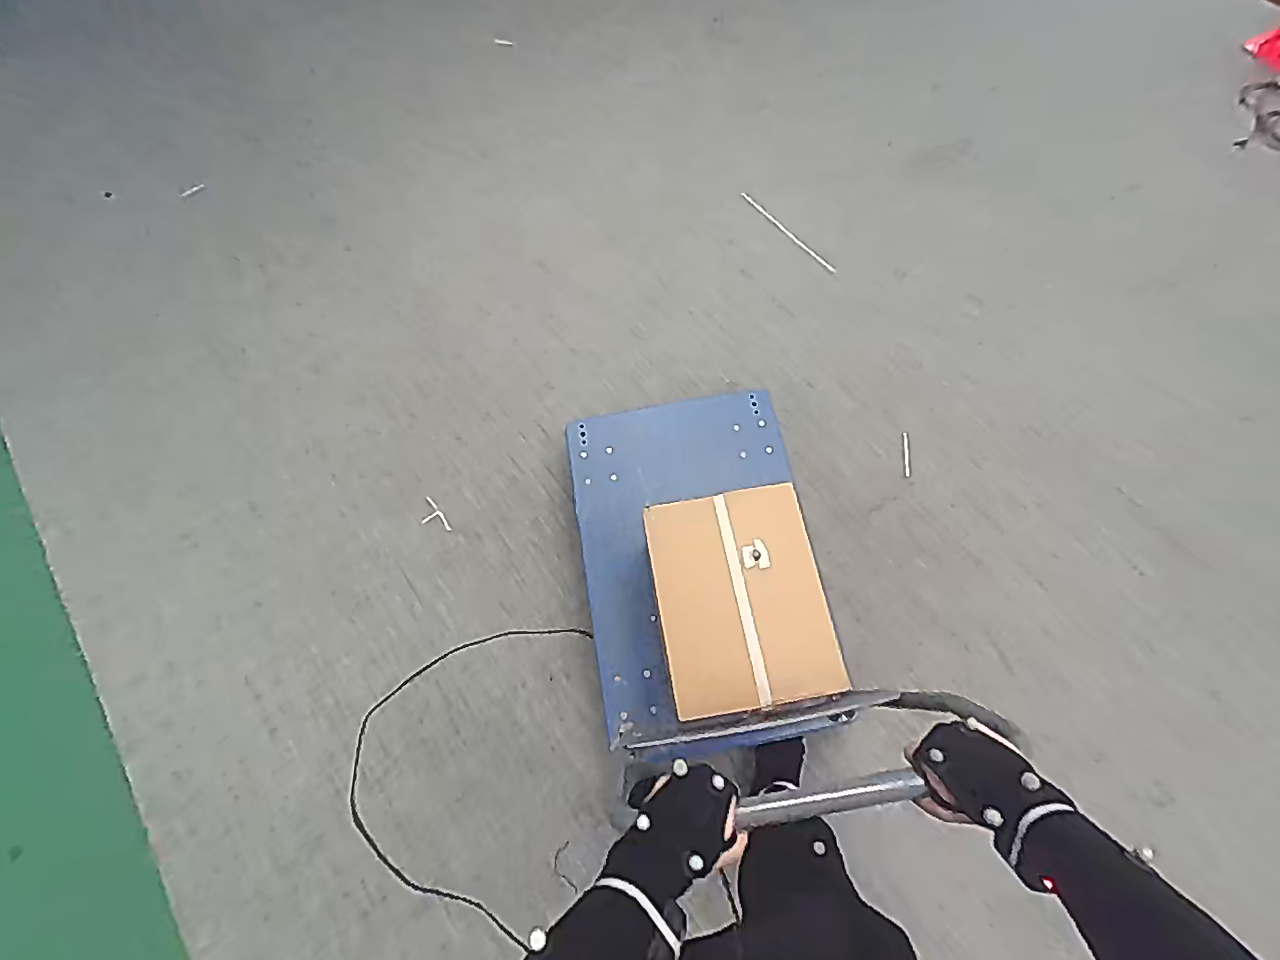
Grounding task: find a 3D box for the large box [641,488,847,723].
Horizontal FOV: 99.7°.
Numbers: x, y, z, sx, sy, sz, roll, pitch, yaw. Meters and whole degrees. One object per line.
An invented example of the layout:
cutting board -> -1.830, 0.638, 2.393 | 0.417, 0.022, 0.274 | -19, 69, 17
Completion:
large box -> 0.194, 0.277, 1.169 | 0.320, 0.320, 0.408 | -10, 69, -2
